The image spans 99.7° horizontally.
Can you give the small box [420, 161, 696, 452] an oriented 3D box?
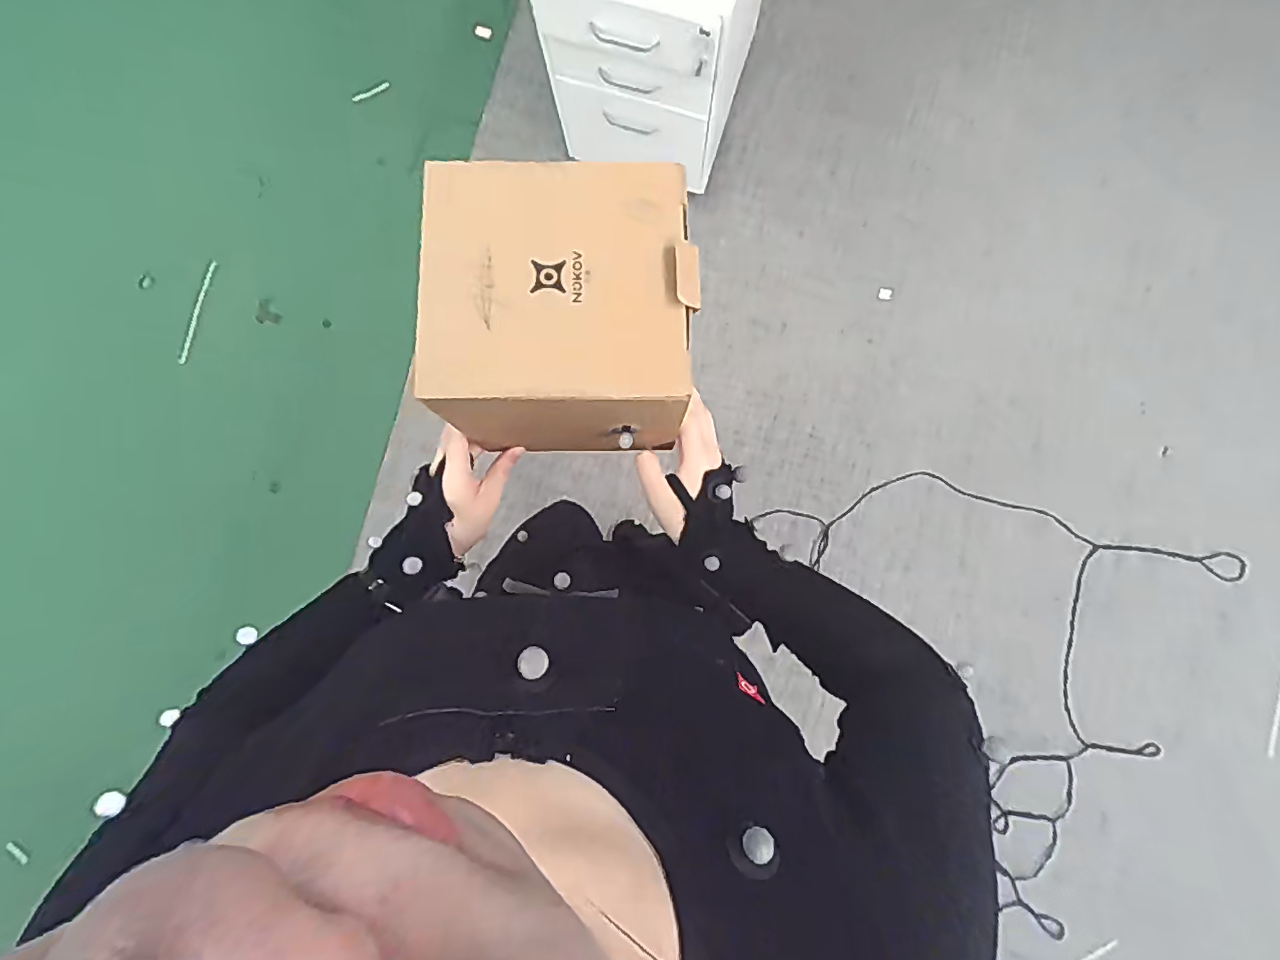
[{"bbox_3d":[-0.053,-0.120,0.431,0.179,0.176,0.168,-1,81,0],"label":"small box"}]
